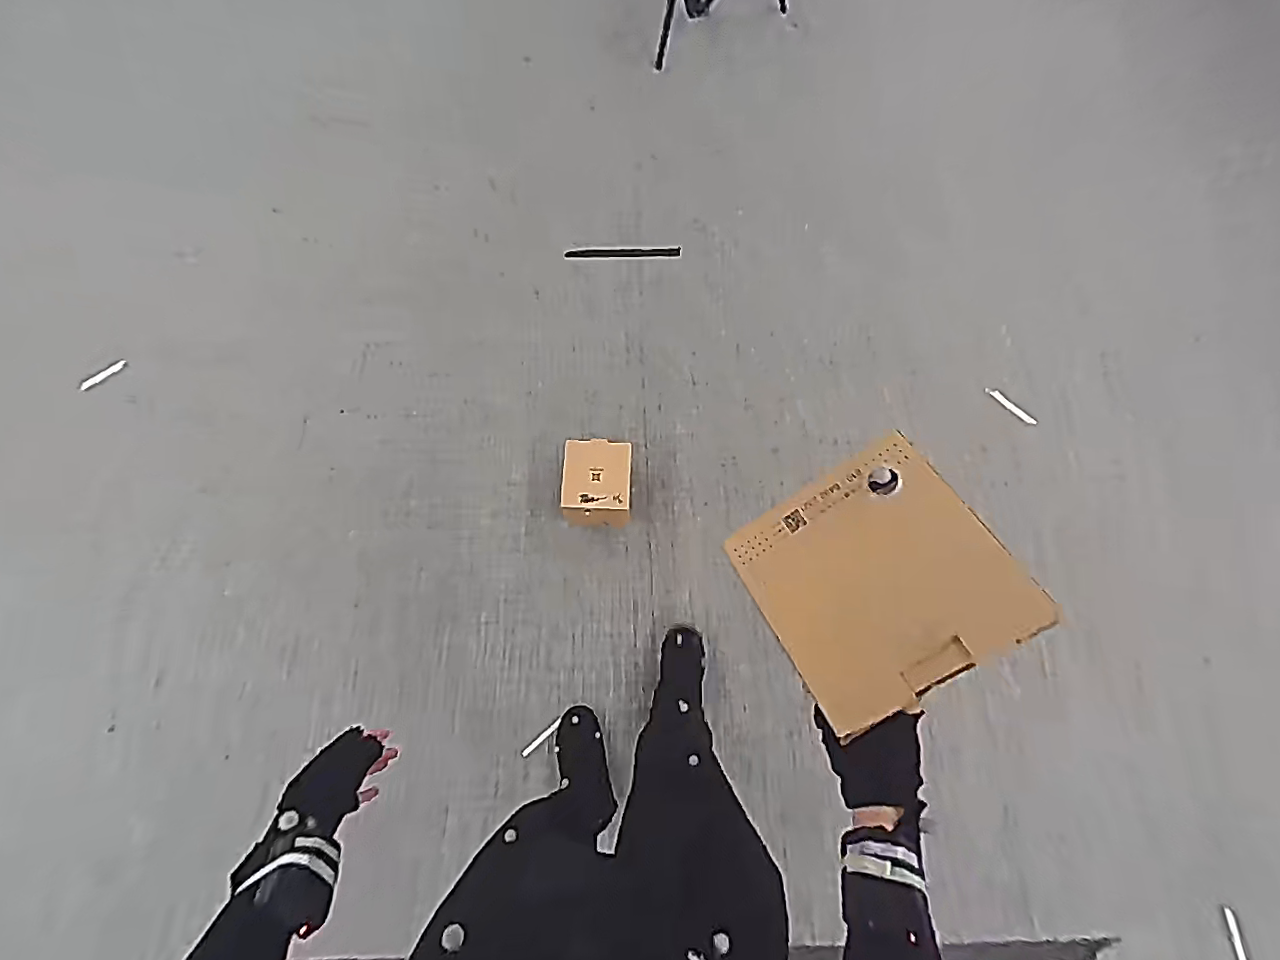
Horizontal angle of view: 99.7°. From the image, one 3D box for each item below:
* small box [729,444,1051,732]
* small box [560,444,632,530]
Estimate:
[{"bbox_3d":[0.201,0.093,0.472,0.168,0.179,0.176,-36,60,11],"label":"small box"},{"bbox_3d":[-0.110,0.021,1.396,0.168,0.176,0.179,3,72,-1],"label":"small box"}]
